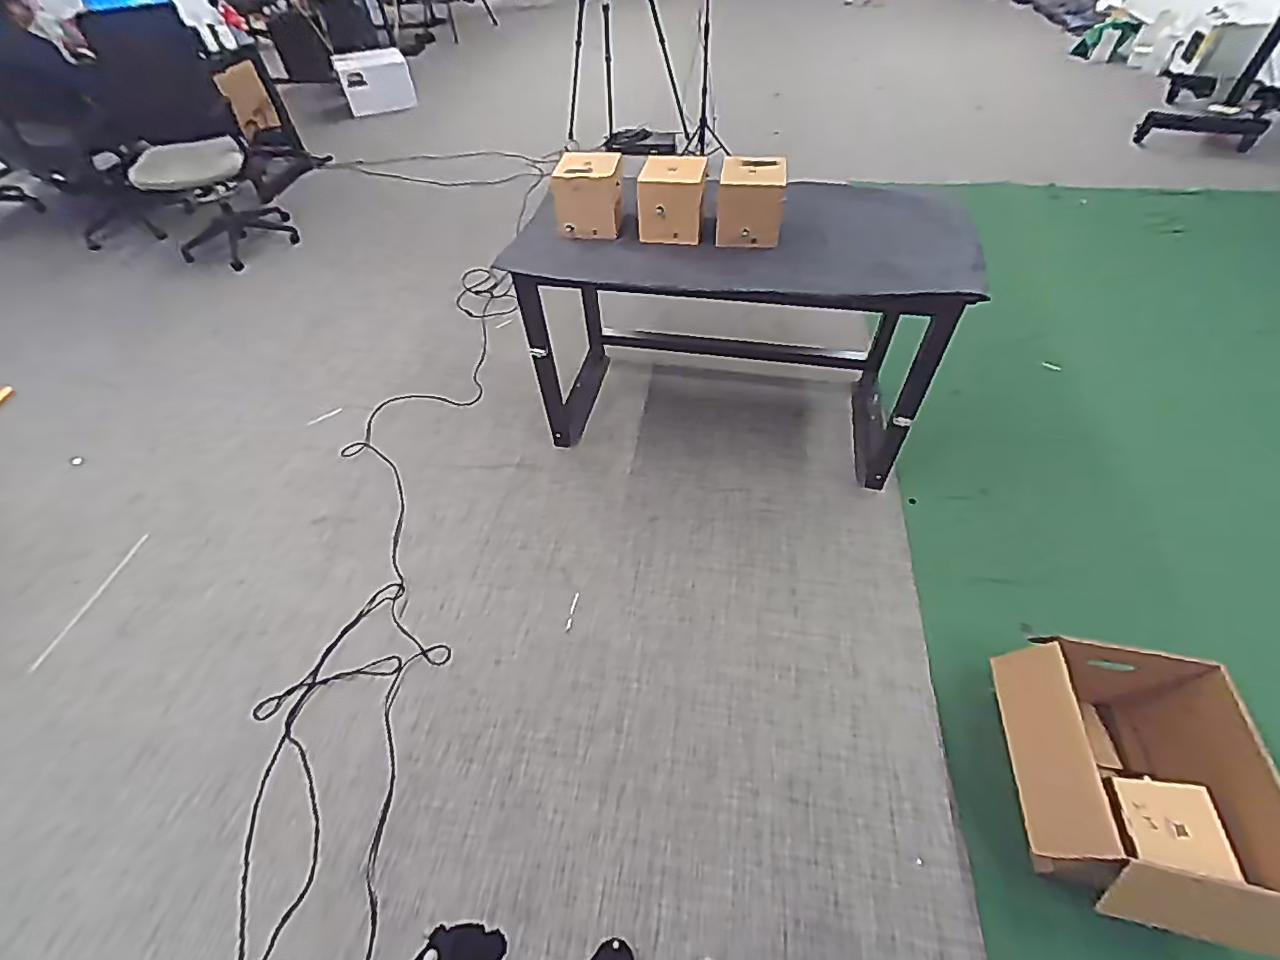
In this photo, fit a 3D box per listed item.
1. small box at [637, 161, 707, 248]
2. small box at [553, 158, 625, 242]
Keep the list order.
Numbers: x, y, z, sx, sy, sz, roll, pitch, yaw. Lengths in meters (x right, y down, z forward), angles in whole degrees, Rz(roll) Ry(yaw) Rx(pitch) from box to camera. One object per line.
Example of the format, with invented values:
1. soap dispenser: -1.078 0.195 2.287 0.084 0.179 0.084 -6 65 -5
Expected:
1. small box: 0.093 -0.764 1.502 0.168 0.176 0.179 7 50 9
2. small box: -0.138 -0.797 1.542 0.168 0.176 0.179 4 49 7
